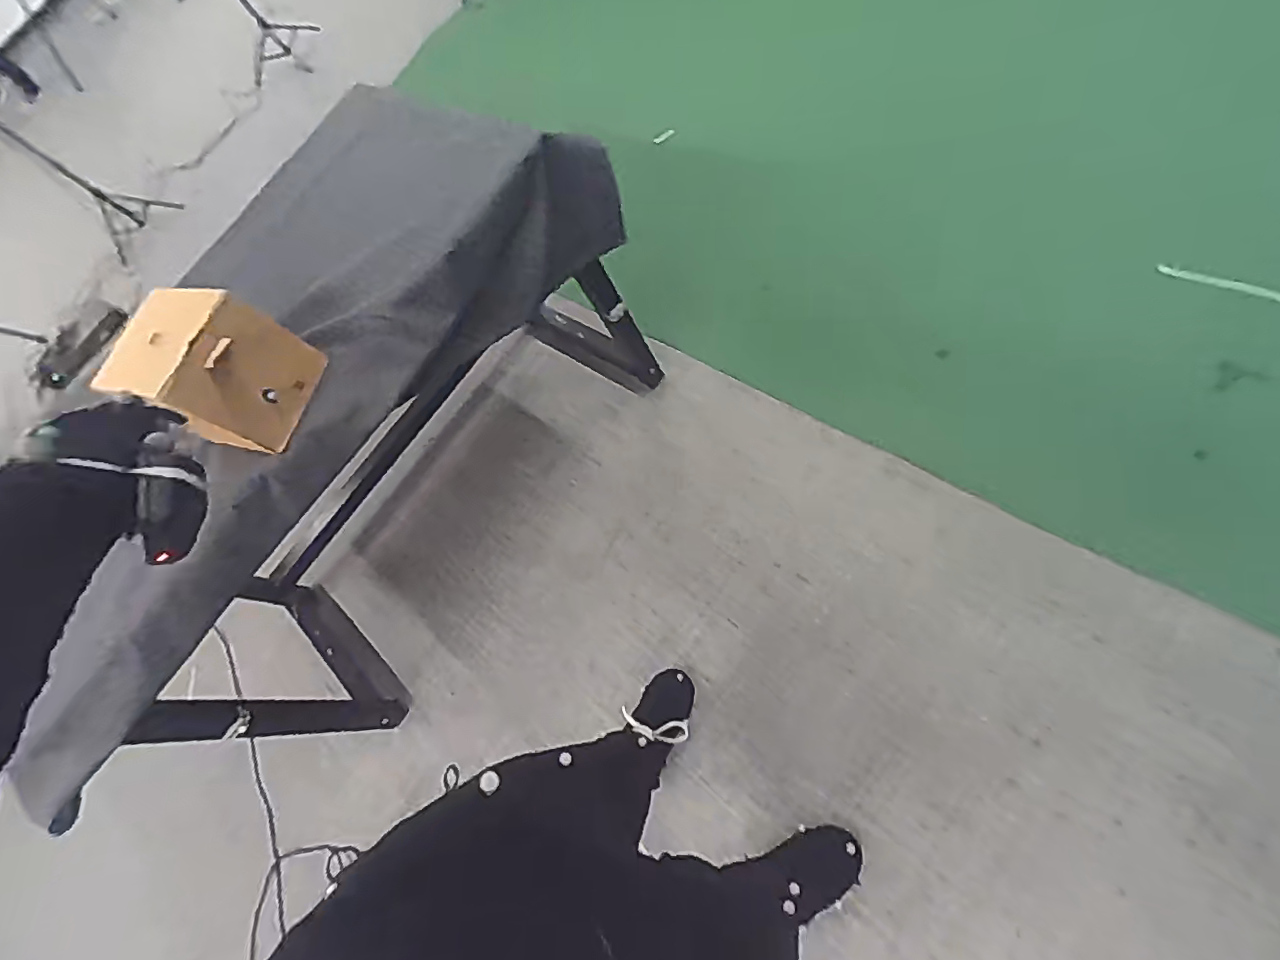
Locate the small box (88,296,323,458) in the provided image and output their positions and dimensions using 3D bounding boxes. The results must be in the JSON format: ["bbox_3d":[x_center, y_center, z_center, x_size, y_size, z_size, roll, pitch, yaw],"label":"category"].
[{"bbox_3d":[-0.611,-0.144,0.780,0.179,0.176,0.168,9,72,23],"label":"small box"}]
